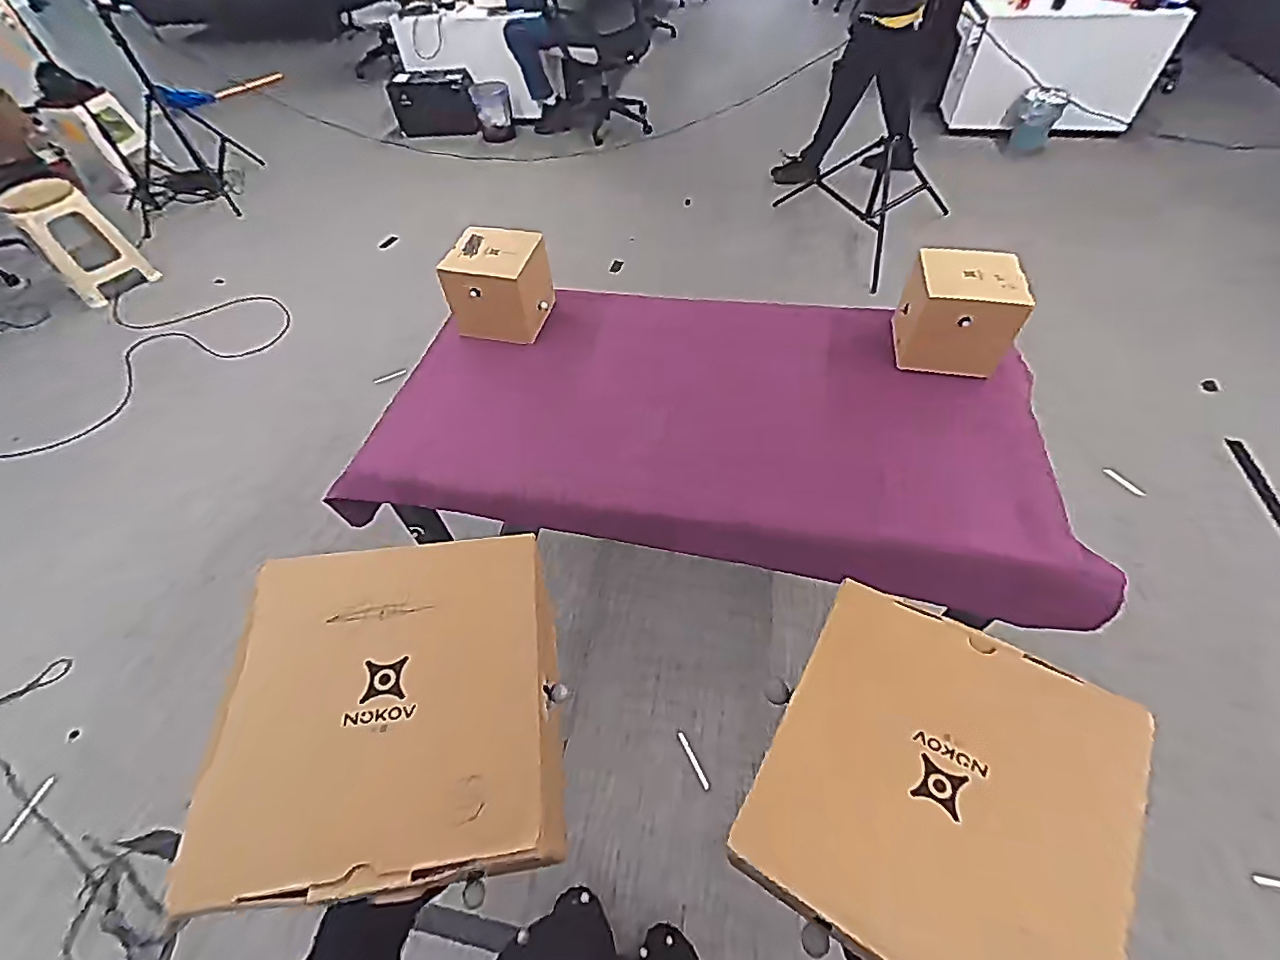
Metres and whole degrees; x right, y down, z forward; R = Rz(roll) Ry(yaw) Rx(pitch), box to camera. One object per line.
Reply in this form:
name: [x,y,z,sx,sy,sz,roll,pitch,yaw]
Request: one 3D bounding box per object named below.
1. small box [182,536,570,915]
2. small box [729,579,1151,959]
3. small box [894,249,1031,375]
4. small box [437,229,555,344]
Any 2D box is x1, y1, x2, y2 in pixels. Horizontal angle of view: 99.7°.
small box: [-0.138,0.160,0.359,0.168,0.176,0.179,-5,54,-8]
small box: [0.170,0.202,0.345,0.168,0.176,0.179,23,59,25]
small box: [0.608,-0.323,1.051,0.179,0.176,0.168,8,54,8]
small box: [-0.302,-0.418,1.176,0.179,0.176,0.168,10,55,9]
